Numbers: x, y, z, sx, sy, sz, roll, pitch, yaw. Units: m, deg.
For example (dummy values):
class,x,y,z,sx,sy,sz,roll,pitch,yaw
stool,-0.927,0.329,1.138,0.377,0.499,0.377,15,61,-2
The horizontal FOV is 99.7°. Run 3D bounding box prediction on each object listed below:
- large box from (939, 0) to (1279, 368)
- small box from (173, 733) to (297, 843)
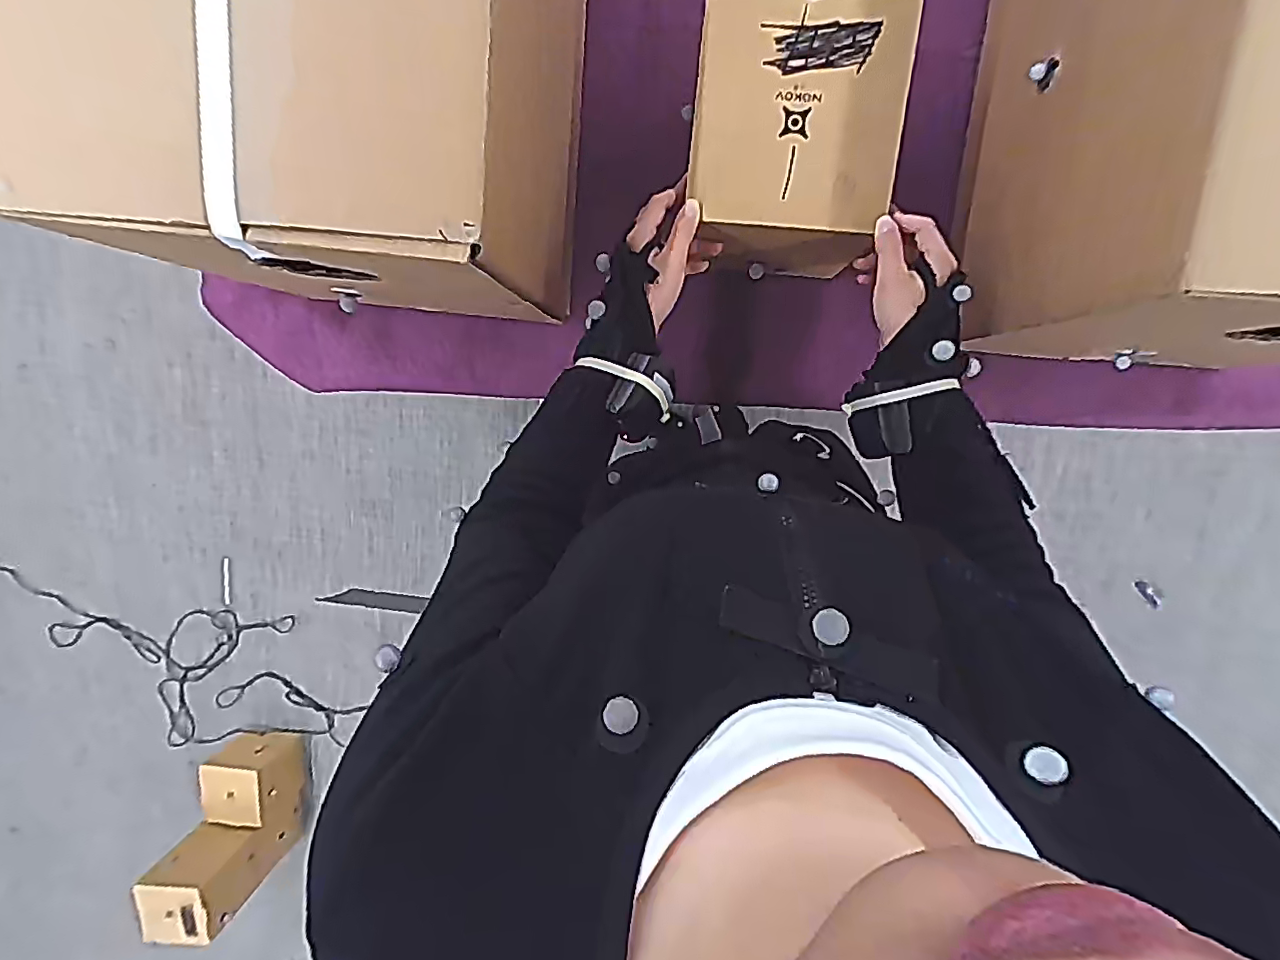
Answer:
class,x,y,z,sx,sy,sz,roll,pitch,yaw
large box,0.472,-0.305,0.411,0.320,0.320,0.408,5,98,4
small box,-1.081,0.826,1.452,0.179,0.176,0.168,30,86,-10
